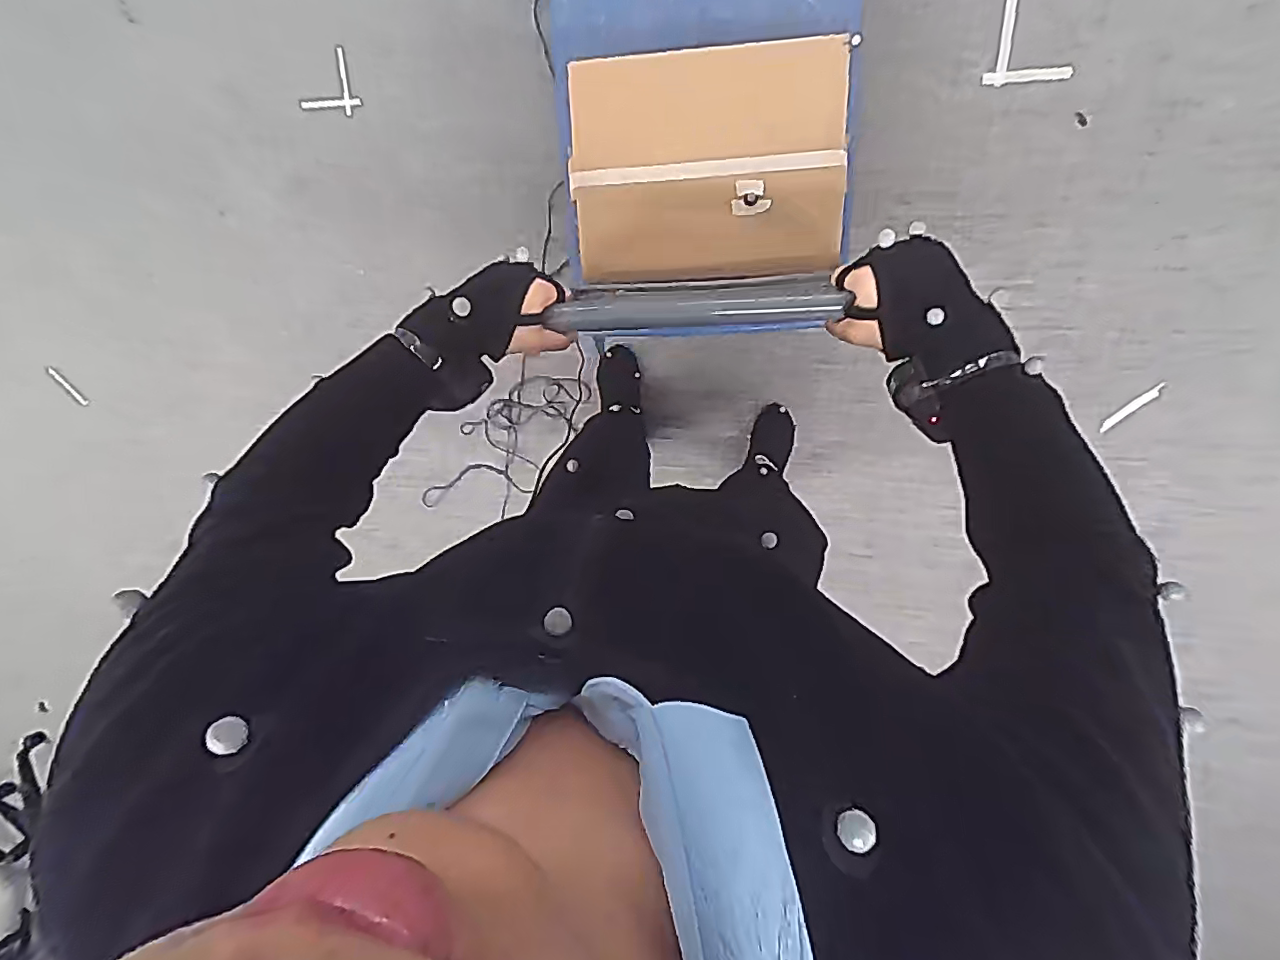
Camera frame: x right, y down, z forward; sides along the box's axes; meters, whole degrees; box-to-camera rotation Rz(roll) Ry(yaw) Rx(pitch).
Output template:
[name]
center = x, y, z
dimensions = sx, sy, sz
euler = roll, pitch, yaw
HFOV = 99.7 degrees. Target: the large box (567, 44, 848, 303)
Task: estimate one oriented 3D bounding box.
[large box]
center = 0.109, -0.489, 0.946
dimensions = 0.408, 0.320, 0.320
euler = 0, 106, 6
